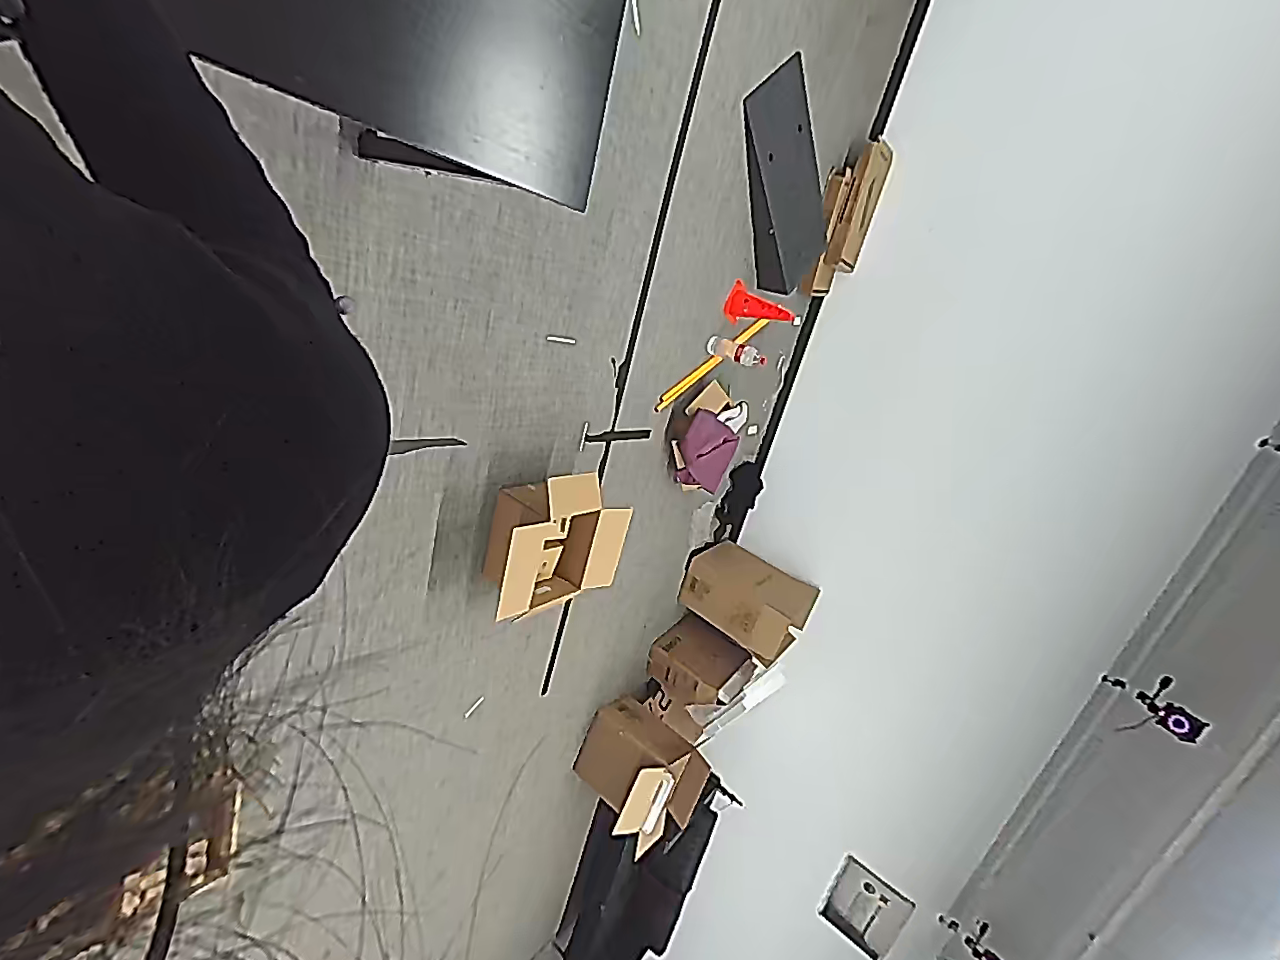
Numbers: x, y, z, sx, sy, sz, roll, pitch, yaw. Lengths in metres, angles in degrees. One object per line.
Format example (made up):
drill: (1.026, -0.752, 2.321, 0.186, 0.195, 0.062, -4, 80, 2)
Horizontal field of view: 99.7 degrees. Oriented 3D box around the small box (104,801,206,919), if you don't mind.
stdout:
small box: (-1.358, 1.051, 1.514, 0.179, 0.176, 0.168, -4, 114, -54)
